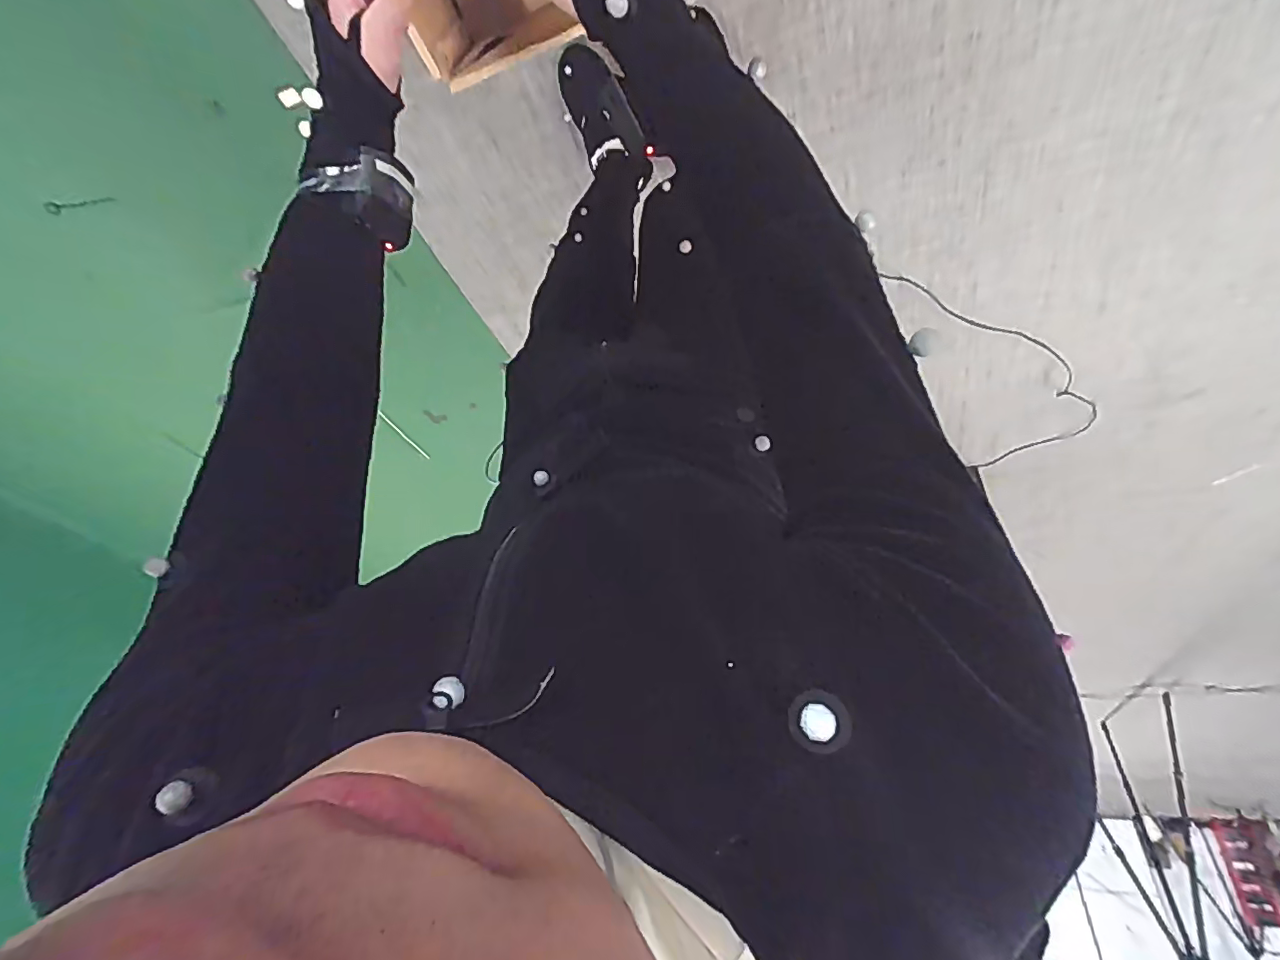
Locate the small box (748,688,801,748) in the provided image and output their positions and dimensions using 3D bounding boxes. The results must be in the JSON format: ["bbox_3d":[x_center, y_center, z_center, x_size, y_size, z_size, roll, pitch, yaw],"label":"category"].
[{"bbox_3d":[0.494,0.873,1.983,0.168,0.176,0.179,-8,141,19],"label":"small box"}]
